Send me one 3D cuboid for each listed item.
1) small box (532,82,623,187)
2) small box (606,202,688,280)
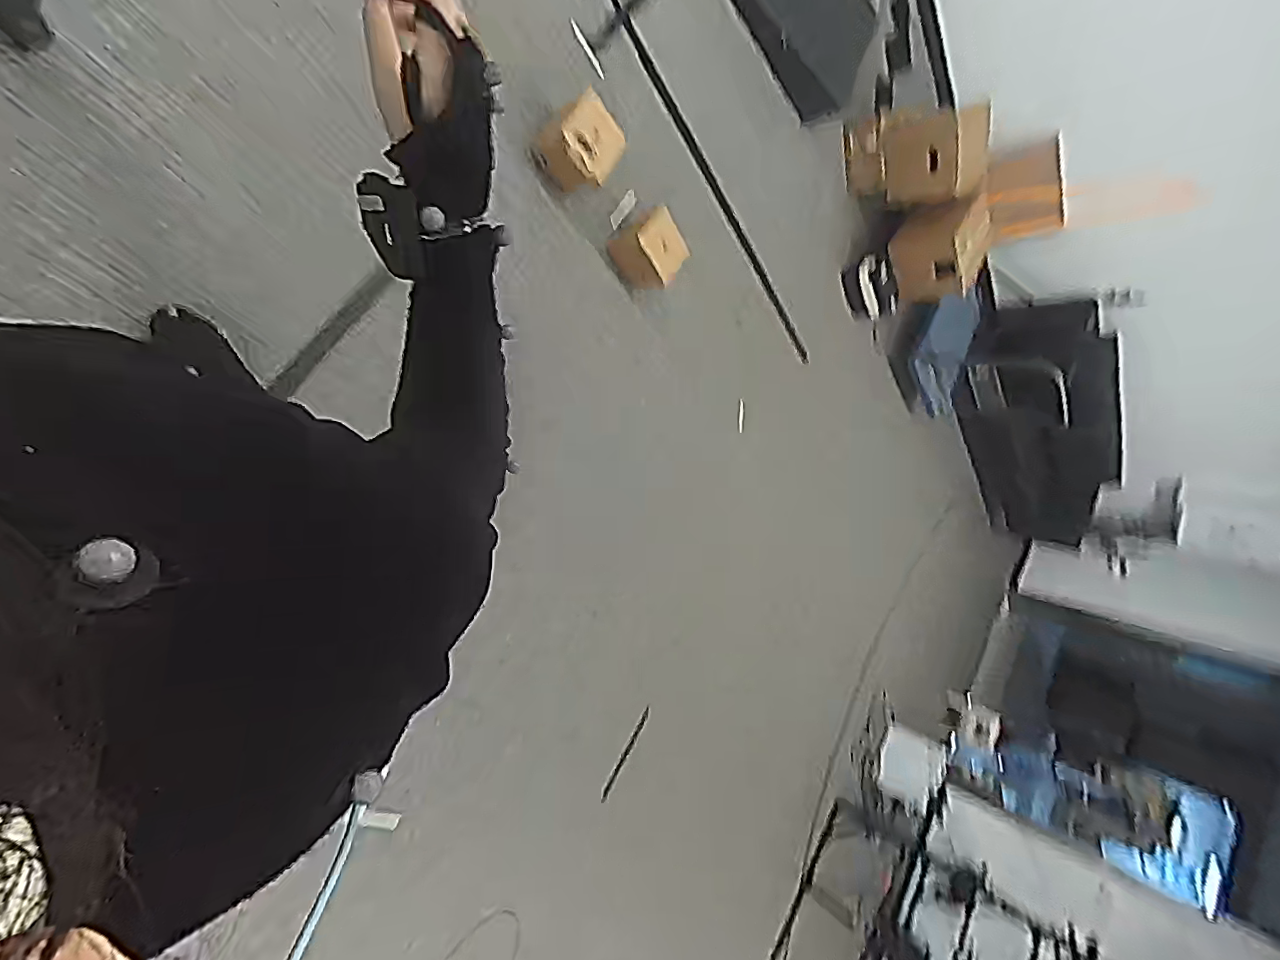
[{"bbox_3d":[-0.187,-0.989,1.566,0.168,0.176,0.179,37,74,-41],"label":"small box"},{"bbox_3d":[0.022,-0.790,1.806,0.179,0.176,0.168,47,68,-38],"label":"small box"}]
